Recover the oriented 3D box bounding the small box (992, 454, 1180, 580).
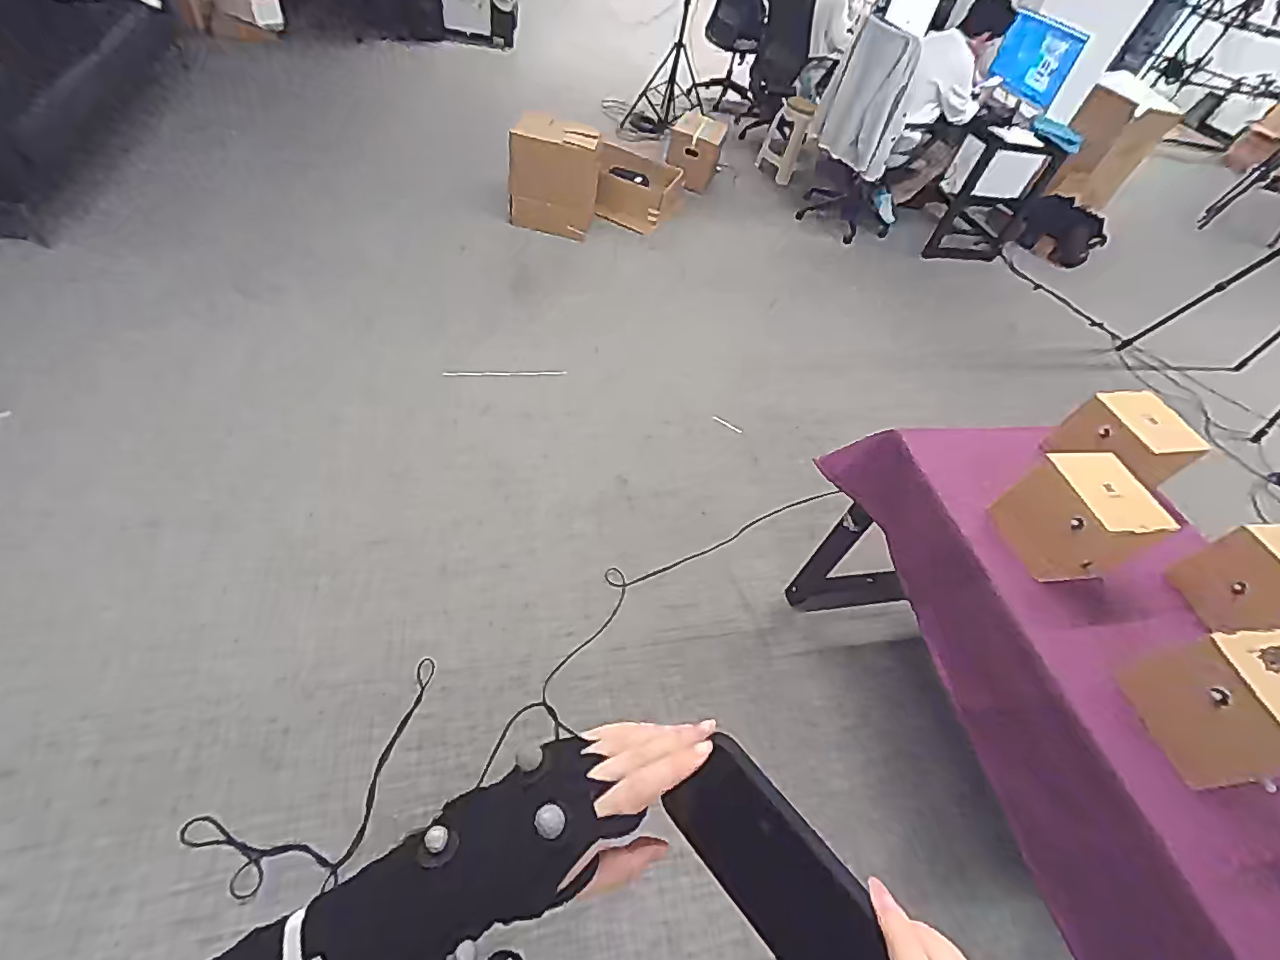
[{"bbox_3d":[0.818,0.070,1.016,0.168,0.176,0.179,-1,53,-14],"label":"small box"}]

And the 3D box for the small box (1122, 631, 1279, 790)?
[{"bbox_3d":[0.896,0.344,0.808,0.168,0.176,0.179,1,52,-12],"label":"small box"}]
